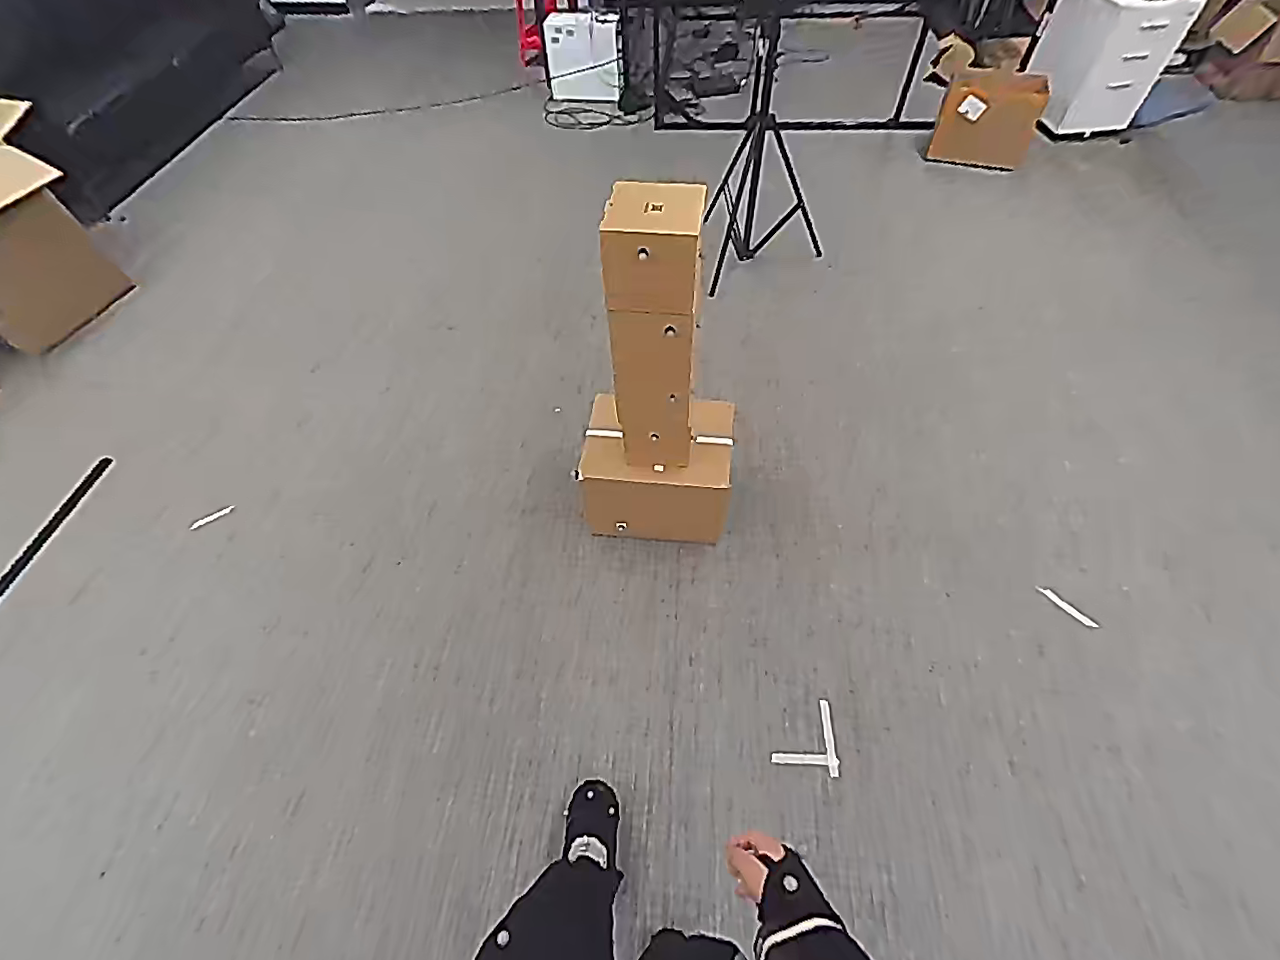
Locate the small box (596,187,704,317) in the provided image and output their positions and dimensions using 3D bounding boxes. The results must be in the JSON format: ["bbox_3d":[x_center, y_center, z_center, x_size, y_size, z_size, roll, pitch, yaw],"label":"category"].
[{"bbox_3d":[0.024,-0.430,1.032,0.179,0.176,0.168,5,56,7],"label":"small box"}]

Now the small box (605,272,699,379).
[{"bbox_3d":[0.030,-0.336,1.164,0.179,0.176,0.168,5,55,6],"label":"small box"}]

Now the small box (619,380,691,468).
[{"bbox_3d":[0.044,-0.144,1.431,0.179,0.176,0.168,3,56,3],"label":"small box"}]
